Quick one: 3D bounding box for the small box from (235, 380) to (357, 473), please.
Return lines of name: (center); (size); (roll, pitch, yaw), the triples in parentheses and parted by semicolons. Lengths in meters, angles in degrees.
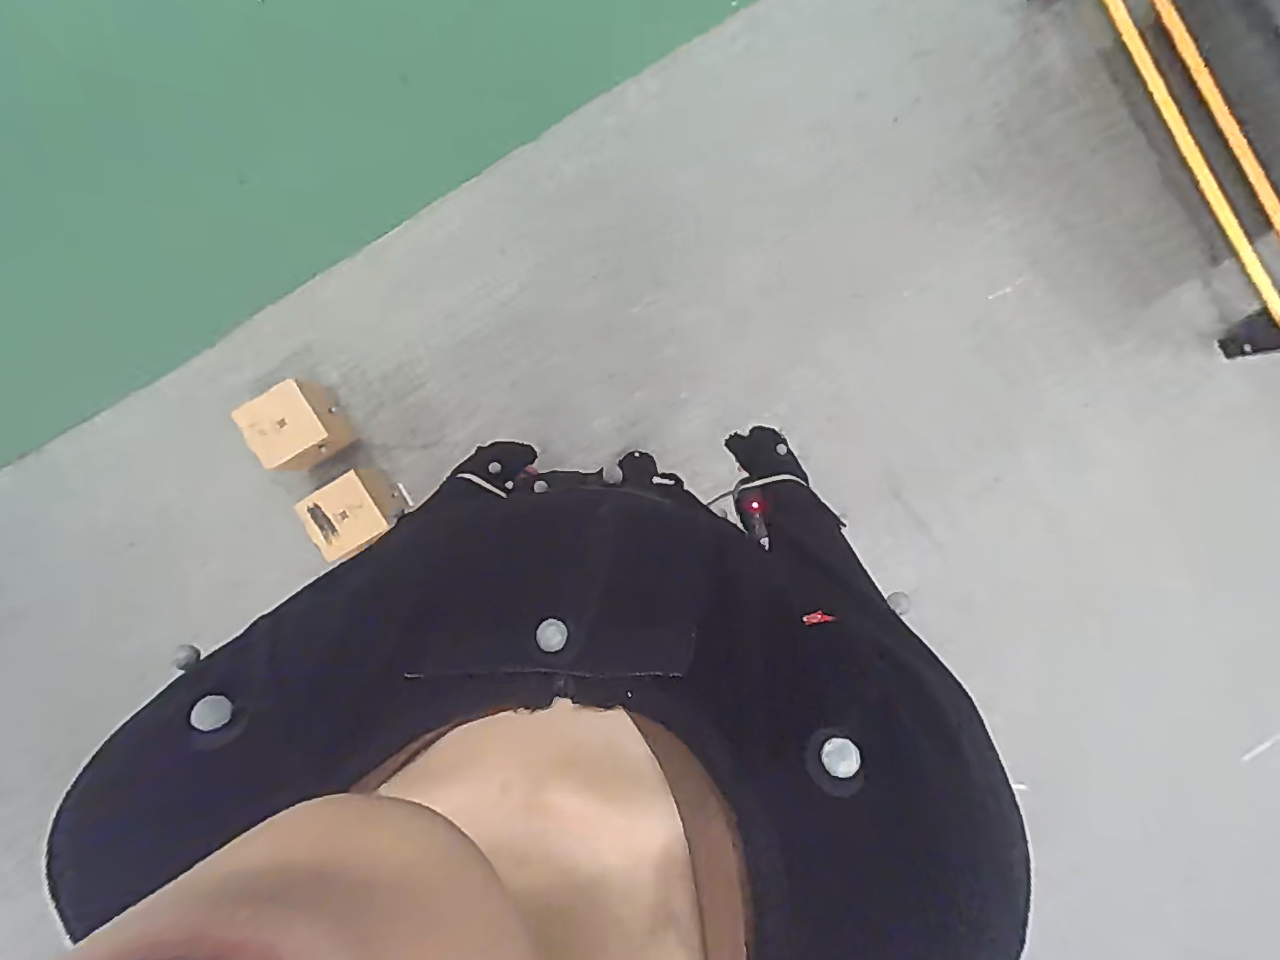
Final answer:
small box: (-0.858, -0.133, 1.375); (0.179, 0.176, 0.168); (-31, 92, 1)
